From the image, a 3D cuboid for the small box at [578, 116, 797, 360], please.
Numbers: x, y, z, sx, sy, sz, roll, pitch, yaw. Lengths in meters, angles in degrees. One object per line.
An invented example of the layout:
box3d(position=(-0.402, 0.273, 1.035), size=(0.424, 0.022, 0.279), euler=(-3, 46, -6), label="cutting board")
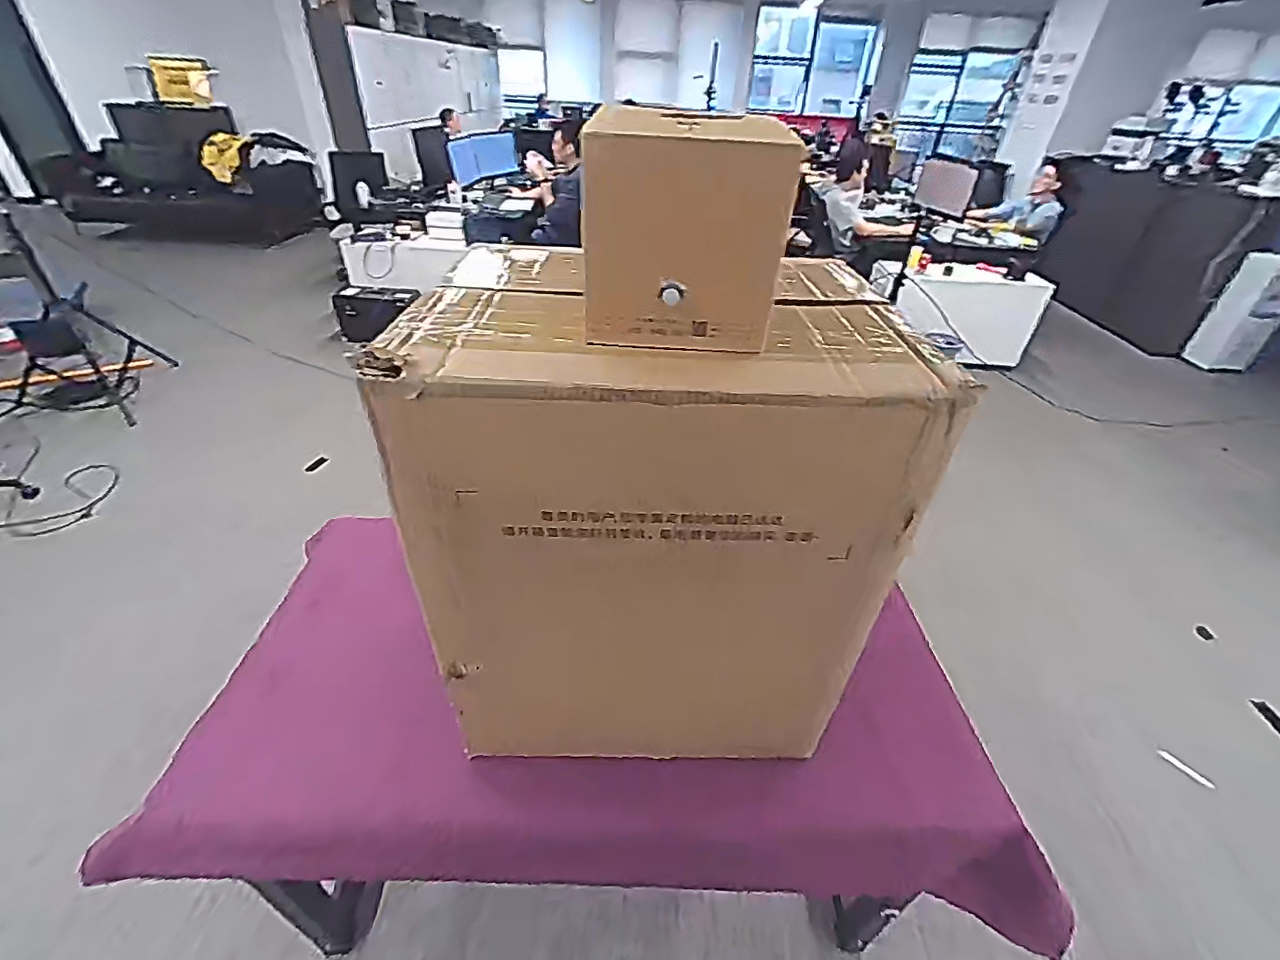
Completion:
box3d(position=(0.034, -0.231, 0.510), size=(0.168, 0.176, 0.179), euler=(3, 39, 0), label="small box")
